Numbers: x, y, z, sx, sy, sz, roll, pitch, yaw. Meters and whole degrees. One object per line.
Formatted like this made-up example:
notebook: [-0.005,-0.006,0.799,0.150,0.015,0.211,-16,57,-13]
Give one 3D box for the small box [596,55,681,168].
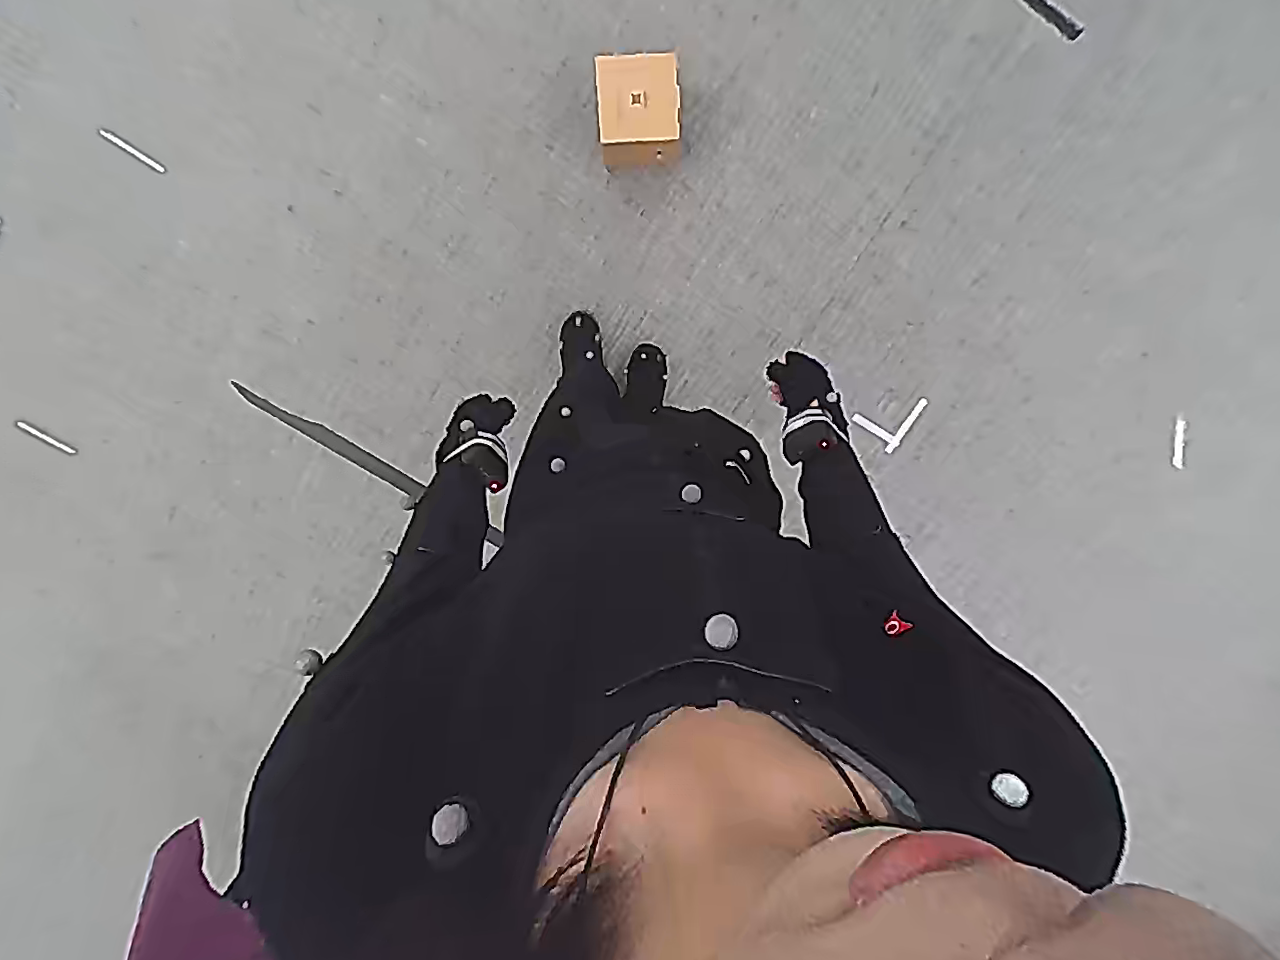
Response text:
small box: [-0.004,-0.826,1.225,0.179,0.176,0.168,-4,104,1]
